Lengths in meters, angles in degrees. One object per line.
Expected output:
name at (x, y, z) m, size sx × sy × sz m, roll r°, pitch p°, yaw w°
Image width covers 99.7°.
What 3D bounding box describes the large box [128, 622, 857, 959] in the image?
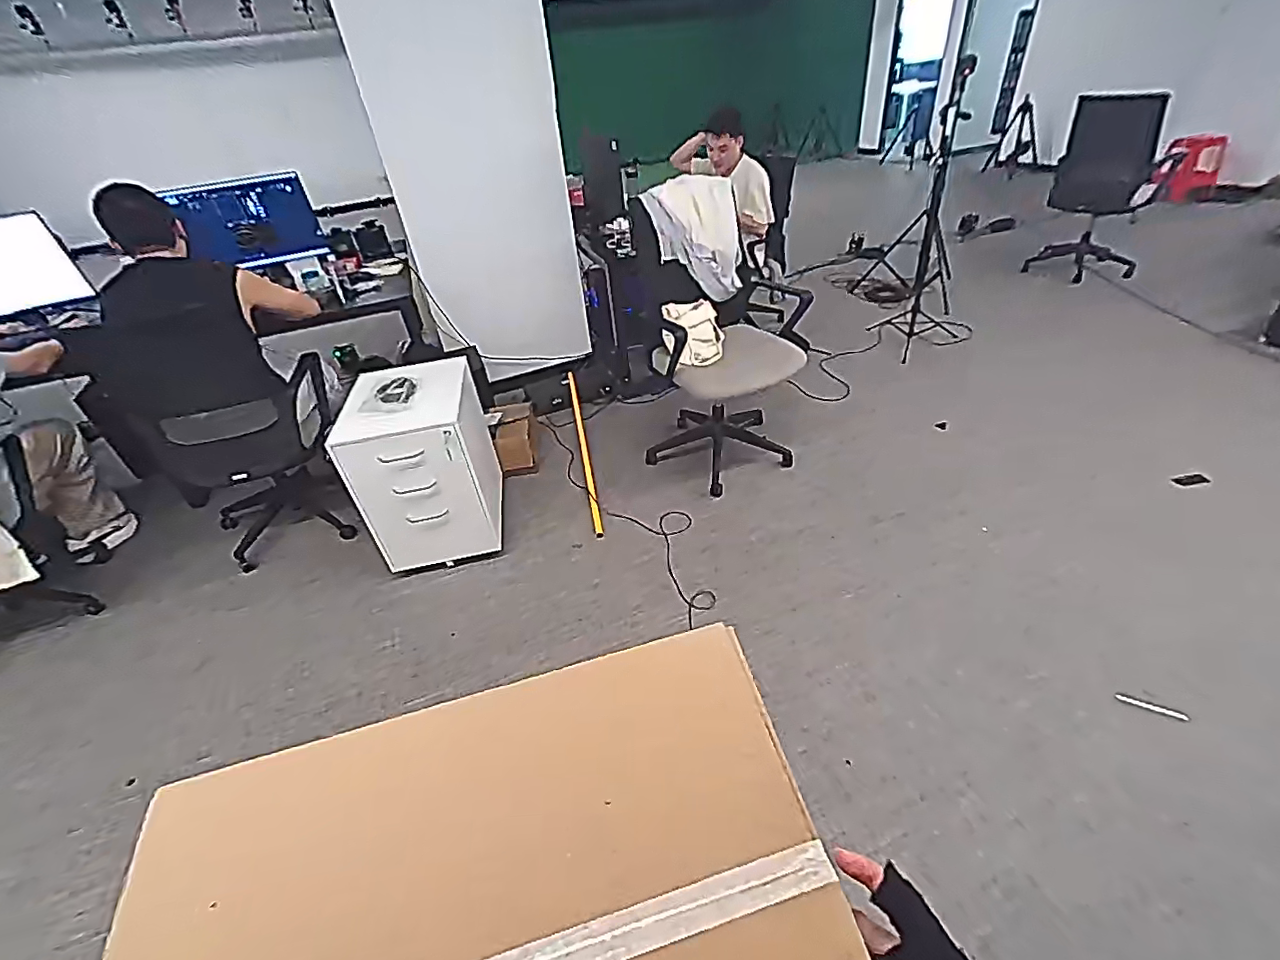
large box at (-0.075, 0.362, 0.412) m, size 0.408 × 0.320 × 0.320 m, roll -14°, pitch 49°, yaw -6°
